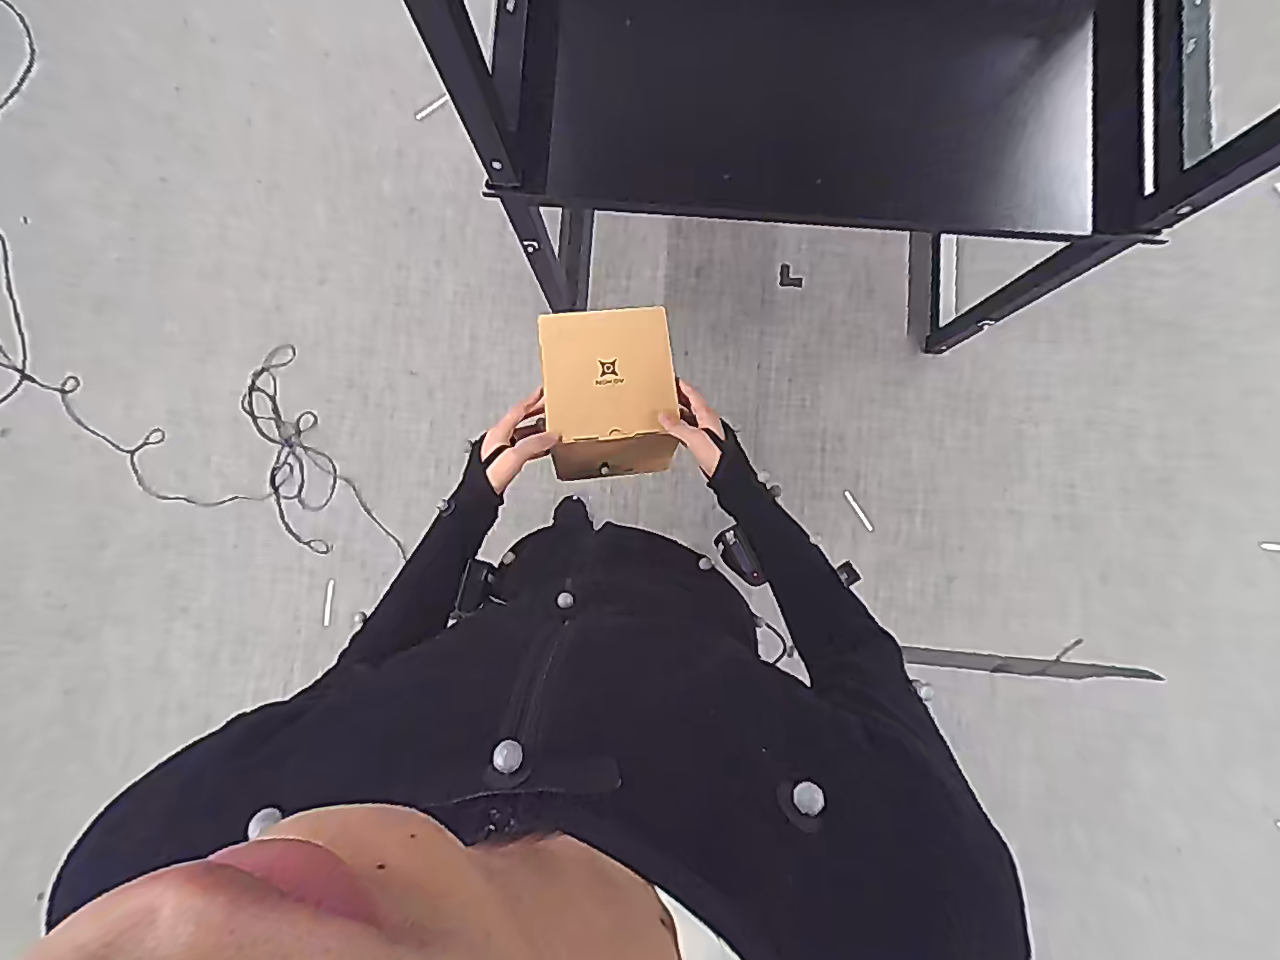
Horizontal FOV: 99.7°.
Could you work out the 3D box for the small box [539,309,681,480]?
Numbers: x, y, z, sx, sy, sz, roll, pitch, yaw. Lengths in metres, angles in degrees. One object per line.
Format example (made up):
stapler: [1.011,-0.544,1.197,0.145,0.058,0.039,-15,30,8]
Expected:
small box: [-0.046,-0.111,0.746,0.168,0.176,0.179,-6,75,-5]
